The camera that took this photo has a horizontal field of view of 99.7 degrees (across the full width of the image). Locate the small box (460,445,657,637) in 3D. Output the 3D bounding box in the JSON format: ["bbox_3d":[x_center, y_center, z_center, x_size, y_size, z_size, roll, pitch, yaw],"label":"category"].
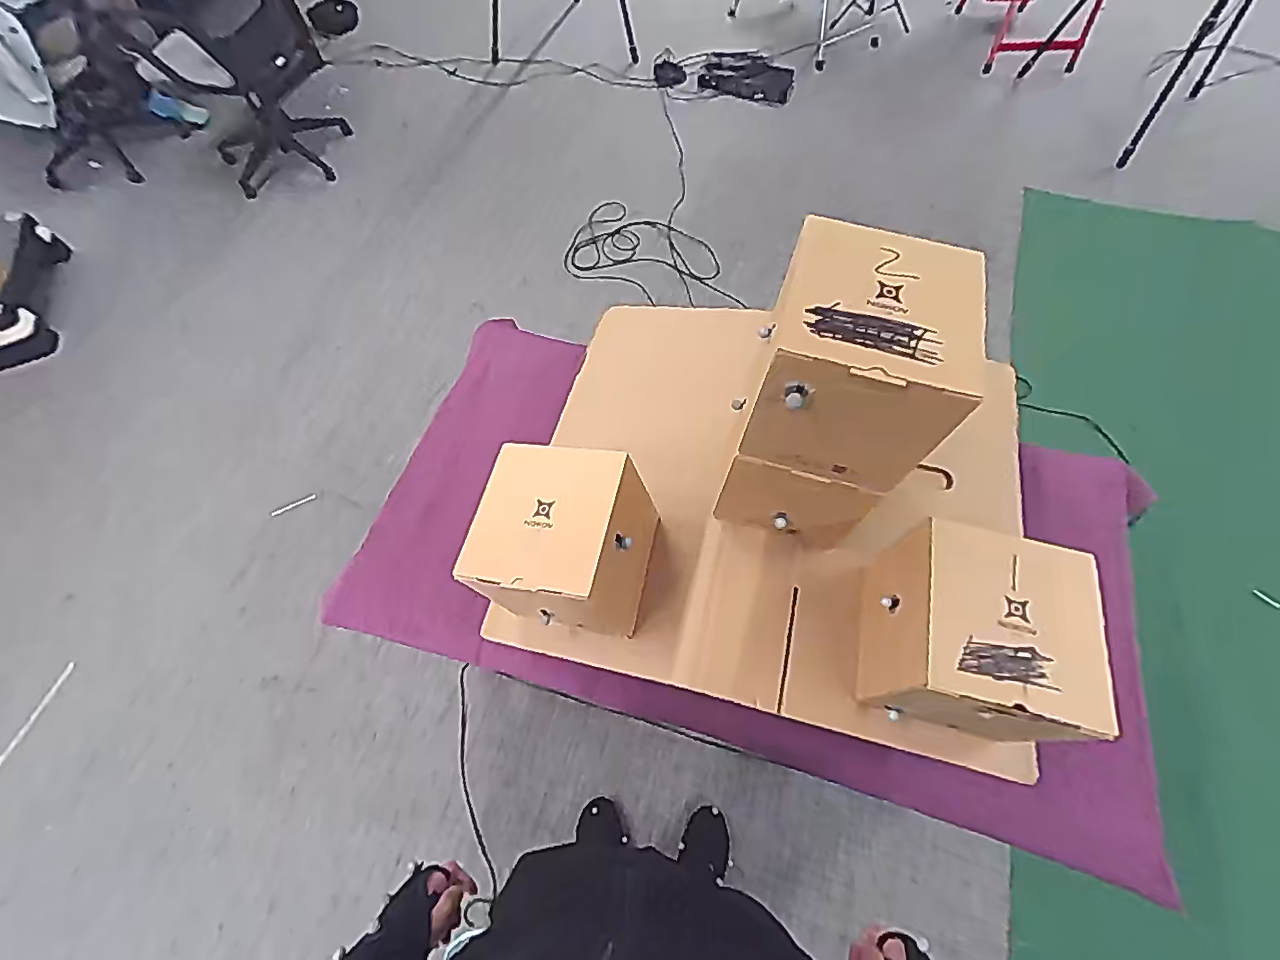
[{"bbox_3d":[-0.084,0.078,0.666,0.168,0.176,0.179,5,64,18],"label":"small box"}]

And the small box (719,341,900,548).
[{"bbox_3d":[0.204,-0.039,0.680,0.168,0.176,0.179,15,64,6],"label":"small box"}]

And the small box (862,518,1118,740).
[{"bbox_3d":[0.354,0.168,0.583,0.168,0.176,0.179,14,63,5],"label":"small box"}]
